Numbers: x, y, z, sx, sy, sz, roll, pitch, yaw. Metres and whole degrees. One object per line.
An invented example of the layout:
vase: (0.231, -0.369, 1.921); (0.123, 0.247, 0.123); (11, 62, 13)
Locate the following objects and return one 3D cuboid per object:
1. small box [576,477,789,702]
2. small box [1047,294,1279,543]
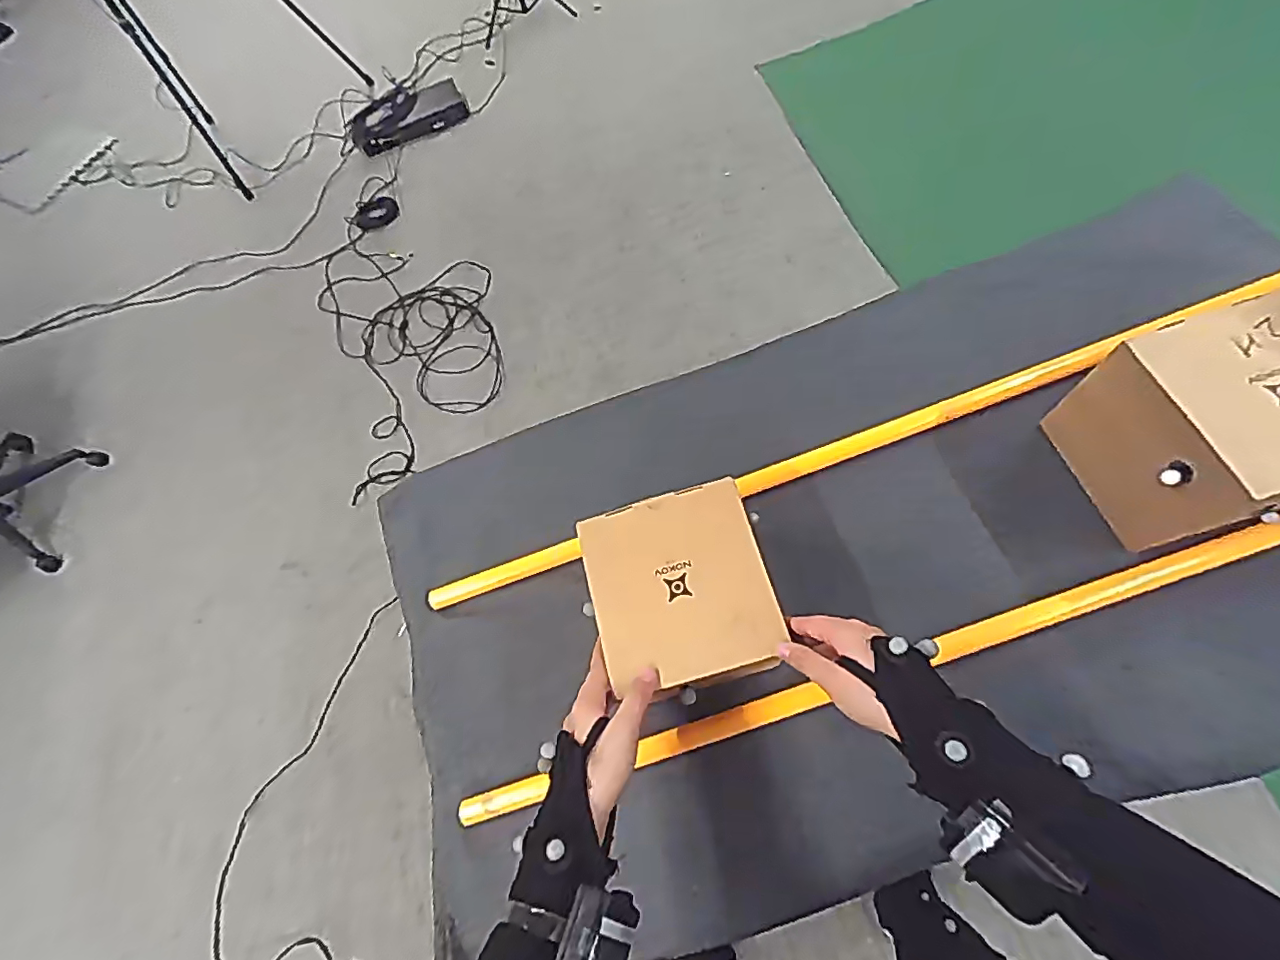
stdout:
small box: (0.046, 0.125, 0.574); (0.168, 0.176, 0.179); (-17, 65, 2)
small box: (0.567, -0.047, 0.540); (0.168, 0.176, 0.179); (-18, 66, 5)
